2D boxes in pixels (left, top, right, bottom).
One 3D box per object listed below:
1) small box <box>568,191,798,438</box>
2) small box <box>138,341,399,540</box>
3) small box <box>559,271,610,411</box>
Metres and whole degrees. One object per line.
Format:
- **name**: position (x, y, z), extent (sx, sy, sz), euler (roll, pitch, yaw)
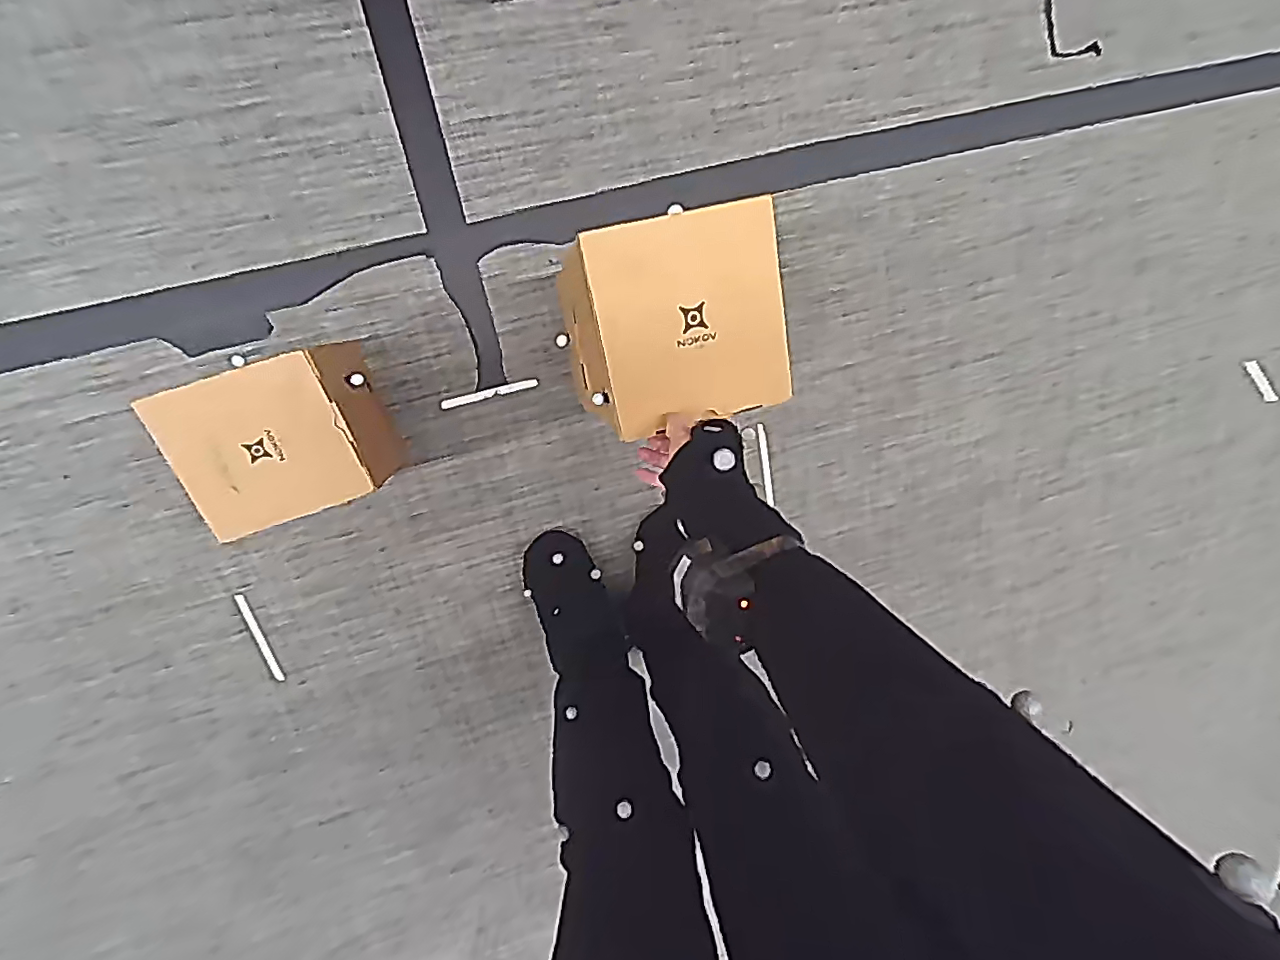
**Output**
- **small box**: position (0.033, -0.158, 0.529), extent (0.168, 0.176, 0.179), euler (-15, 111, -8)
- **small box**: position (-0.407, -0.058, 0.639), extent (0.179, 0.176, 0.168), euler (-20, 109, -5)
- **small box**: position (0.002, -0.194, 0.684), extent (0.179, 0.176, 0.168), euler (-11, 109, -10)
